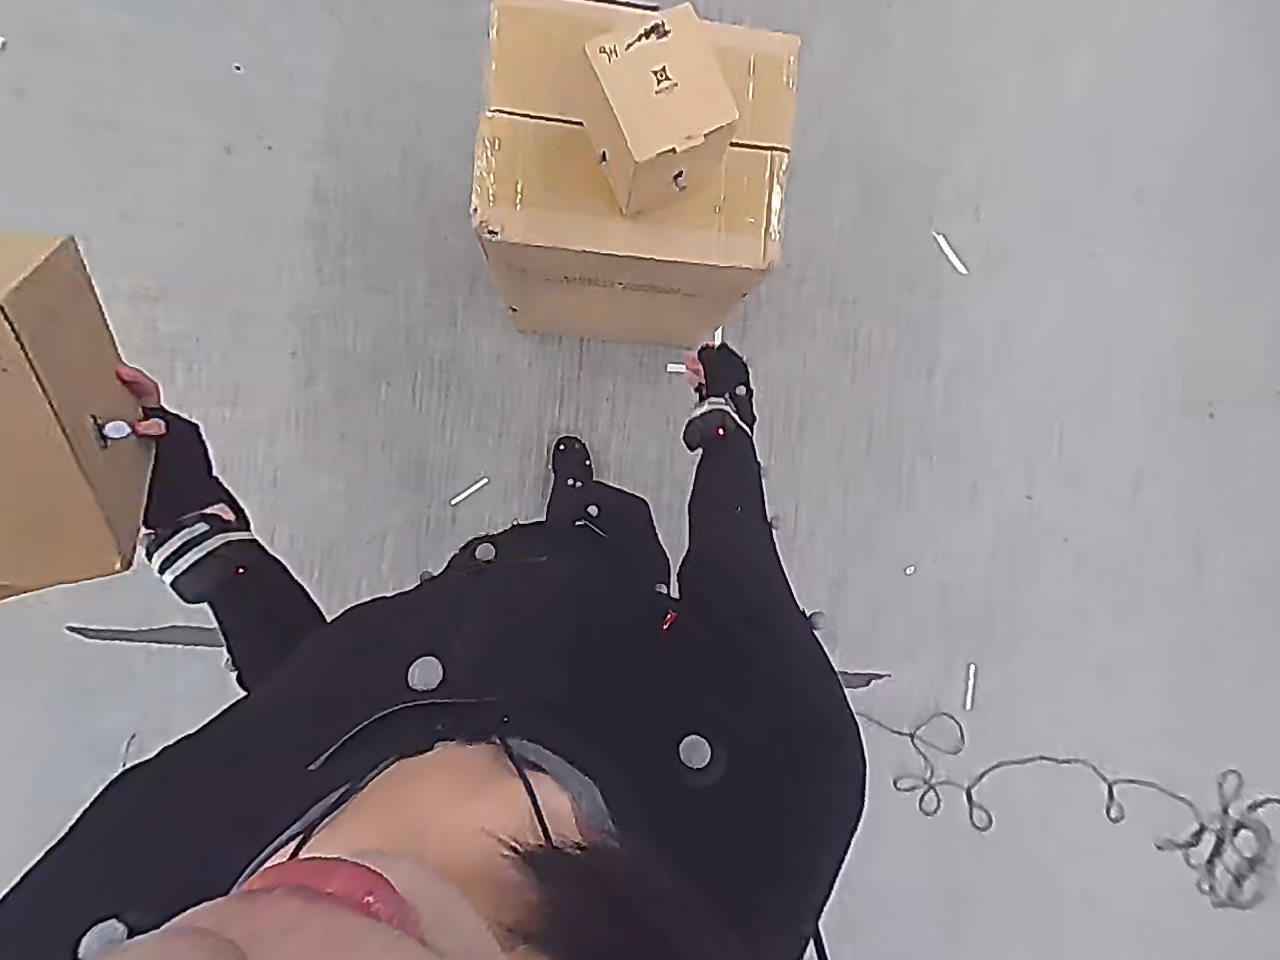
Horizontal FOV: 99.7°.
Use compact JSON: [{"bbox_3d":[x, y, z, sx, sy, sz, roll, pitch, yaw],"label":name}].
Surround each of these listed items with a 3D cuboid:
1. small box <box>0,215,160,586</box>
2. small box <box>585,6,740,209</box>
[{"bbox_3d":[-0.413,-0.047,0.307,0.168,0.179,0.176,-11,127,-30],"label":"small box"},{"bbox_3d":[0.026,-0.543,0.821,0.168,0.176,0.179,-25,95,-5],"label":"small box"}]
